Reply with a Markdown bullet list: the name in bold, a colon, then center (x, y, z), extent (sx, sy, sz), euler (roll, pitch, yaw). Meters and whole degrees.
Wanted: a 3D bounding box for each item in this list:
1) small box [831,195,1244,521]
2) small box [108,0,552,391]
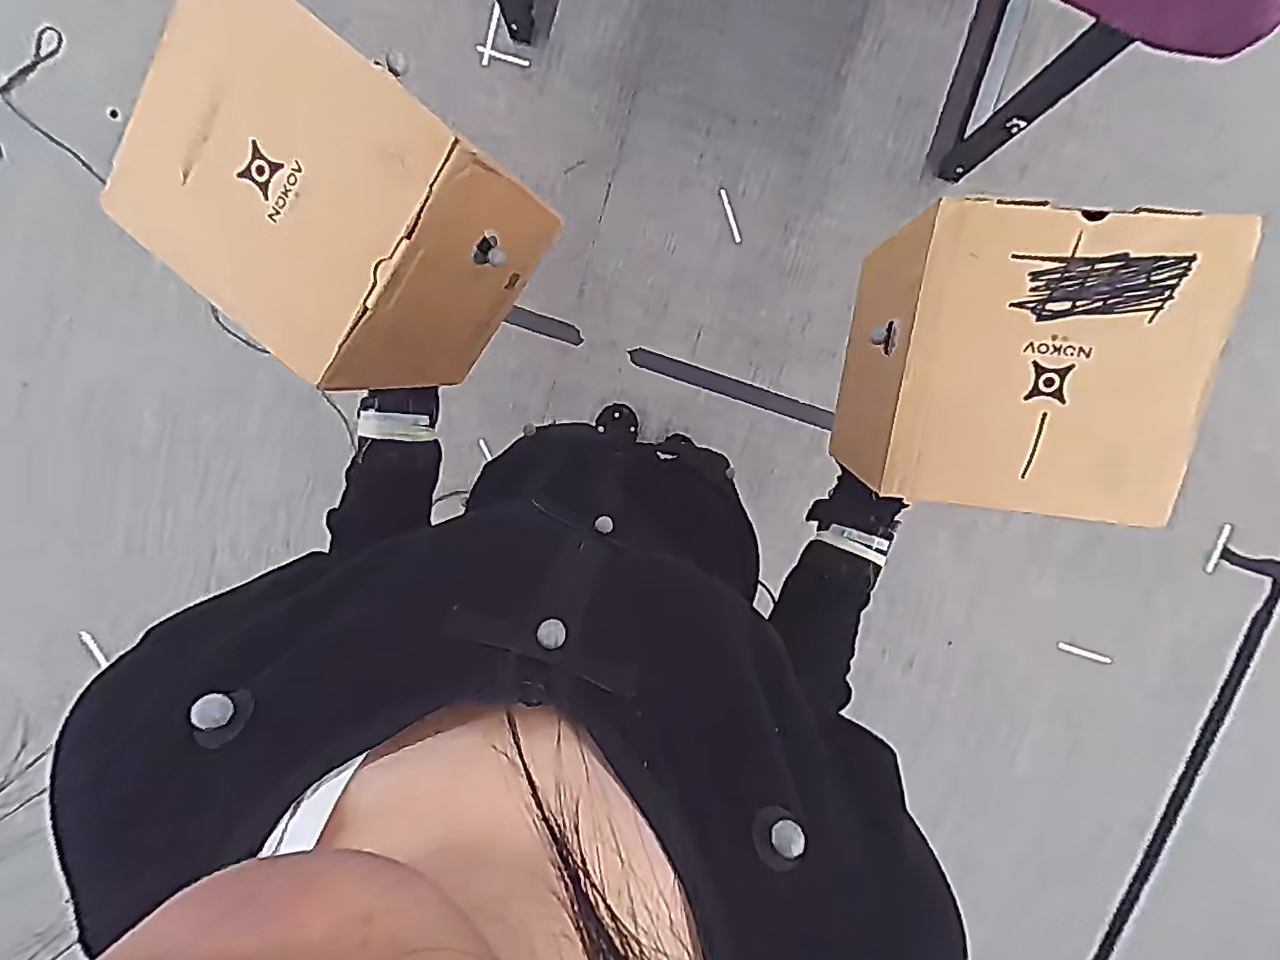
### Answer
- **small box**: center (0.250, -0.084, 0.396), extent (0.168, 0.176, 0.179), euler (7, 103, 7)
- **small box**: center (-0.190, -0.182, 0.380), extent (0.179, 0.176, 0.168), euler (39, 104, 2)
